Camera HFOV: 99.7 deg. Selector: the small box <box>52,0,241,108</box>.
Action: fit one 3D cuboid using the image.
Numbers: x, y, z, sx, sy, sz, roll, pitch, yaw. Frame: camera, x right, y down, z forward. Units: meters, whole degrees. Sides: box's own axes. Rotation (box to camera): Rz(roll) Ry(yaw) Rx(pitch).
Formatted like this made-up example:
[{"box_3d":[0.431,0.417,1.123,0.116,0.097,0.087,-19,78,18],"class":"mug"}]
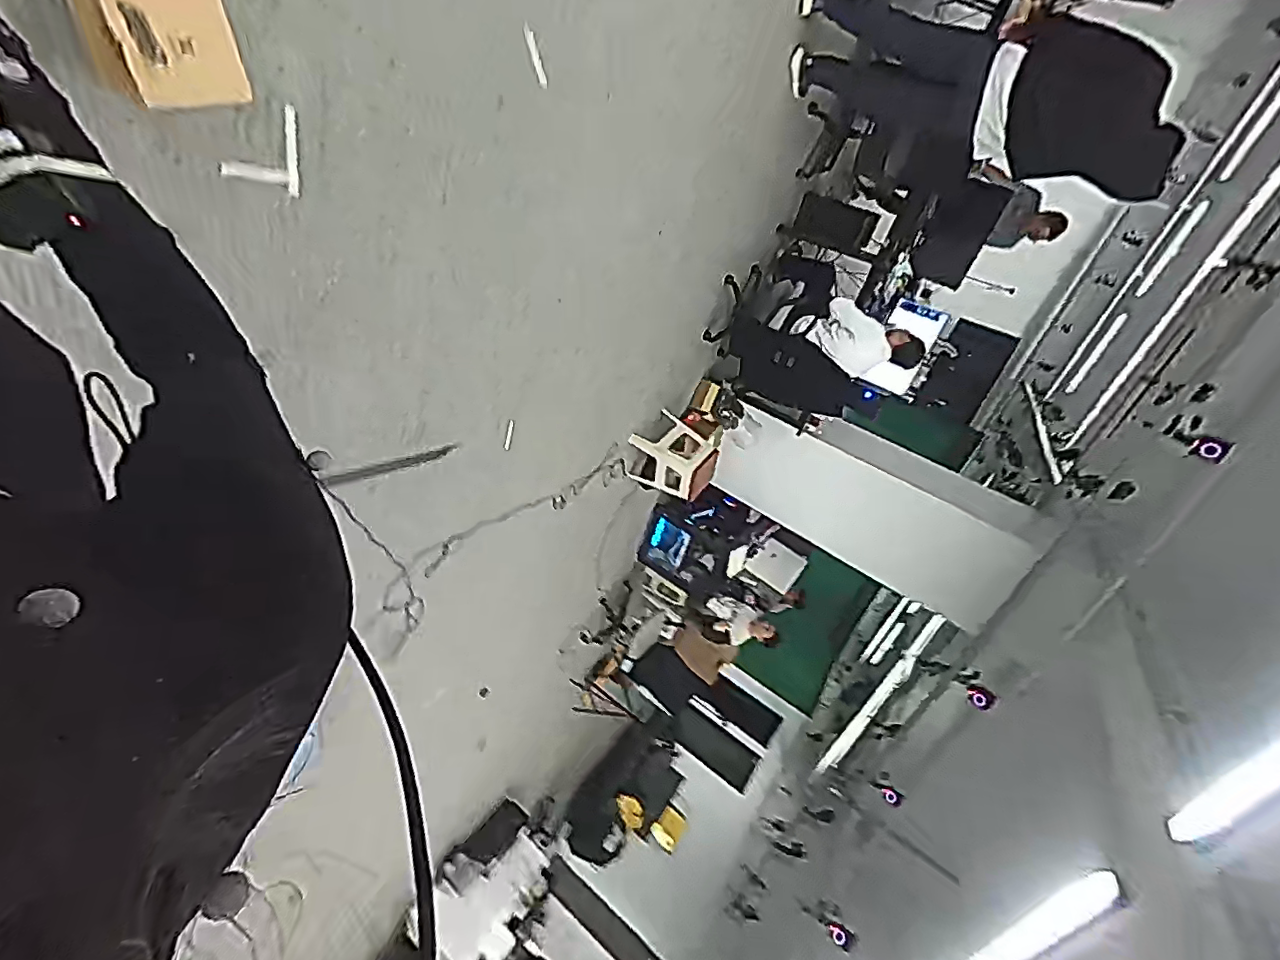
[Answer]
[{"box_3d":[-0.834,-0.744,0.909,0.179,0.176,0.168,-41,153,-39],"class":"small box"}]
